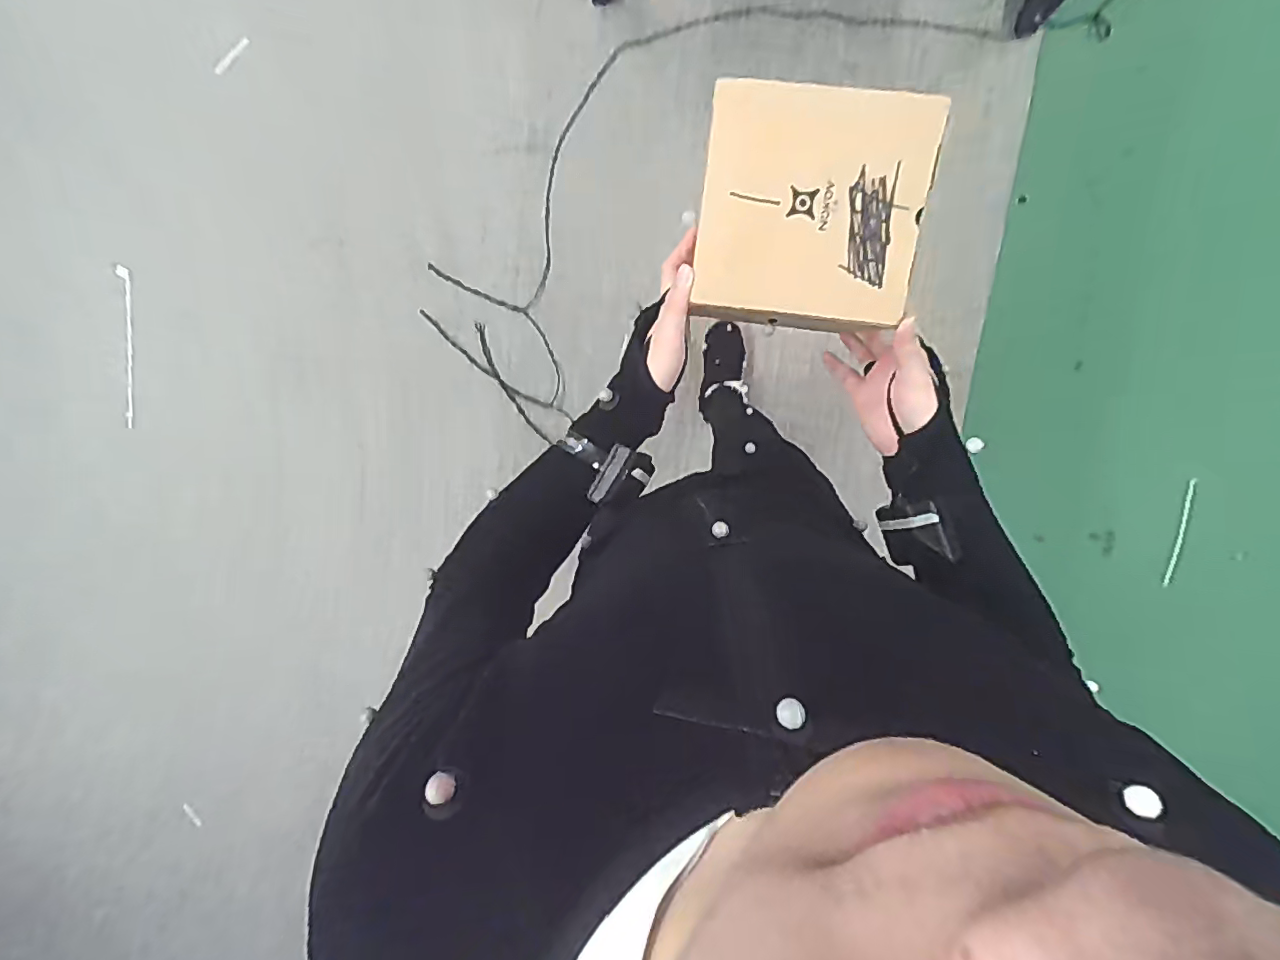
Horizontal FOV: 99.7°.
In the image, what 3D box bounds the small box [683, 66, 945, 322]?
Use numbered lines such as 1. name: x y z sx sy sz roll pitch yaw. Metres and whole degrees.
1. small box: 0.137 -0.240 0.499 0.179 0.176 0.168 8 104 3
